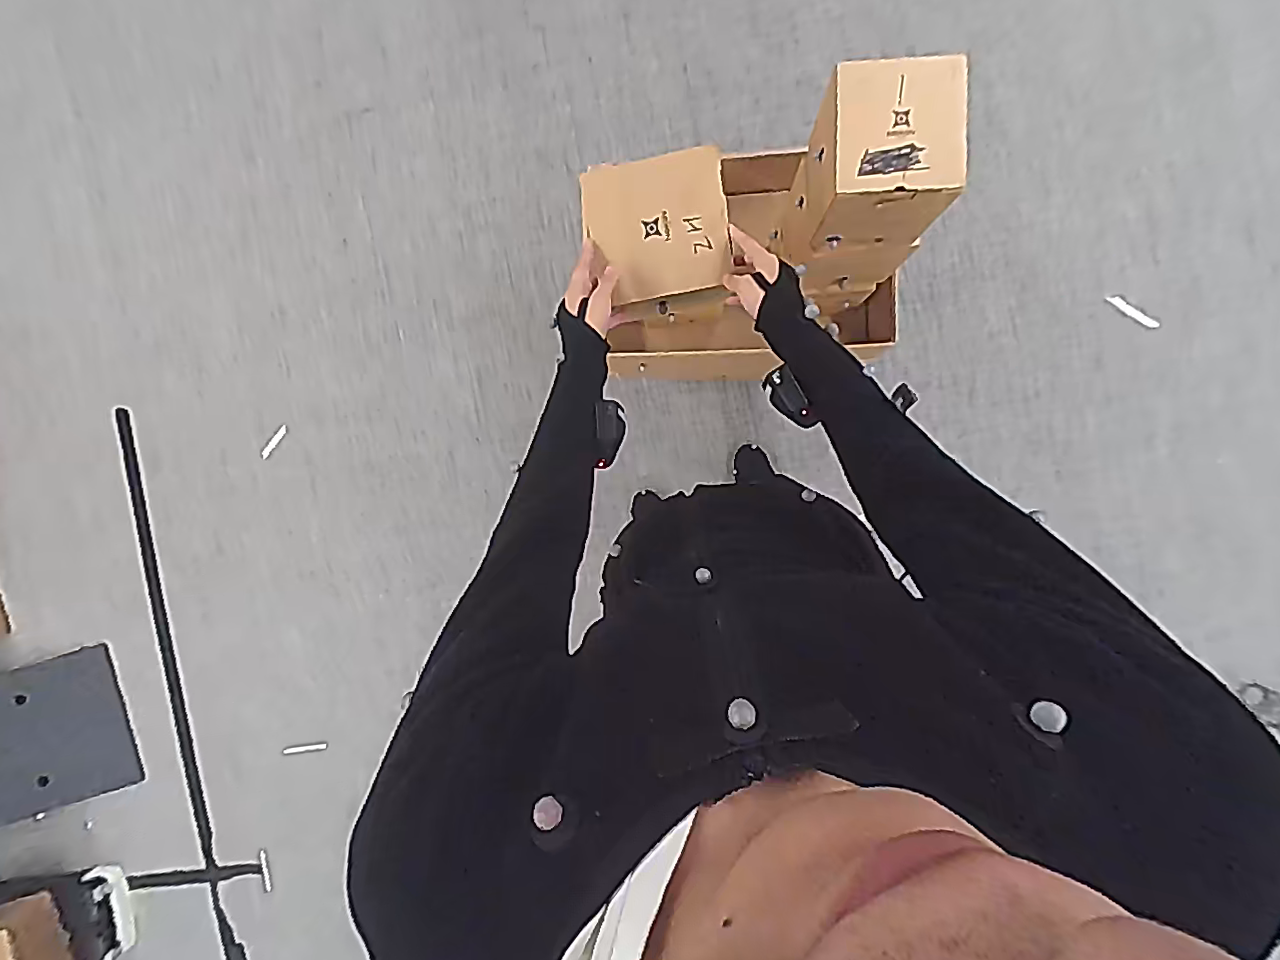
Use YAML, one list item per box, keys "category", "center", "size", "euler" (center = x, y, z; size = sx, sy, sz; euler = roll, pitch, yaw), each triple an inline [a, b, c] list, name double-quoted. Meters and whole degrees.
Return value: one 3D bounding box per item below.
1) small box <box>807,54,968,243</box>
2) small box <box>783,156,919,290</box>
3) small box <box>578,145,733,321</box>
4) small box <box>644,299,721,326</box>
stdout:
- category: "small box"
  center: [0.341, -0.455, 0.773]
  size: [0.168, 0.176, 0.179]
  euler: [0, 90, 5]
- category: "small box"
  center: [0.357, -0.443, 0.938]
  size: [0.179, 0.176, 0.168]
  euler: [-4, 90, 4]
- category: "small box"
  center: [0.027, -0.323, 0.744]
  size: [0.179, 0.176, 0.168]
  euler: [-8, 99, 6]
- category: "small box"
  center: [0.082, -0.428, 1.130]
  size: [0.168, 0.176, 0.179]
  euler: [-3, 90, 5]
